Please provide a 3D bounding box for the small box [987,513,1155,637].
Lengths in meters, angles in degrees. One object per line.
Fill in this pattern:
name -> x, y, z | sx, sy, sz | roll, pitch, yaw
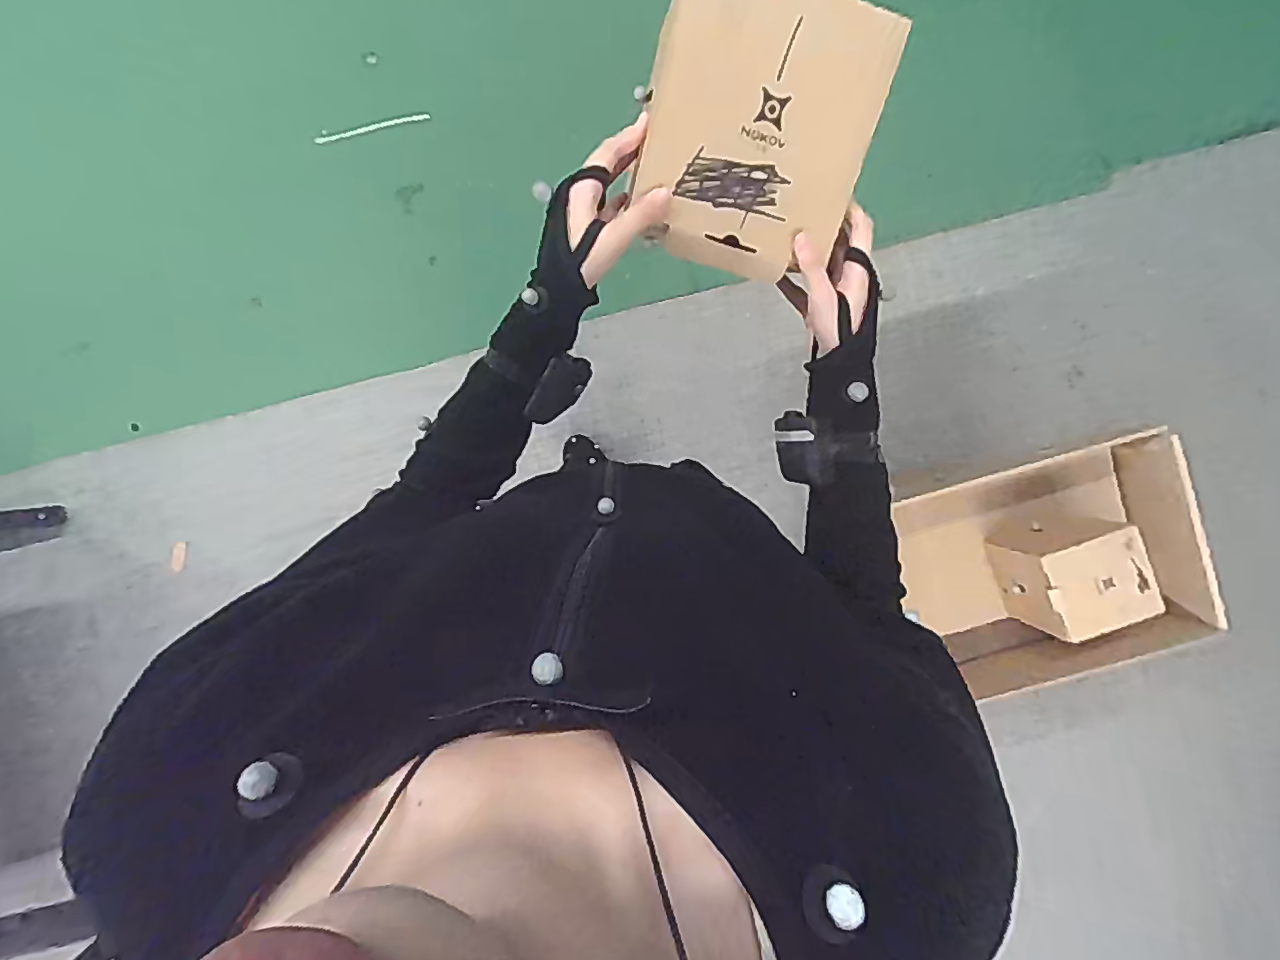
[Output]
small box -> 0.802, 0.173, 1.032 | 0.179, 0.176, 0.168 | -19, 93, 3

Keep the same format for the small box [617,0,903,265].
small box -> 0.080, -0.300, 0.469 | 0.168, 0.176, 0.179 | 12, 110, -12
